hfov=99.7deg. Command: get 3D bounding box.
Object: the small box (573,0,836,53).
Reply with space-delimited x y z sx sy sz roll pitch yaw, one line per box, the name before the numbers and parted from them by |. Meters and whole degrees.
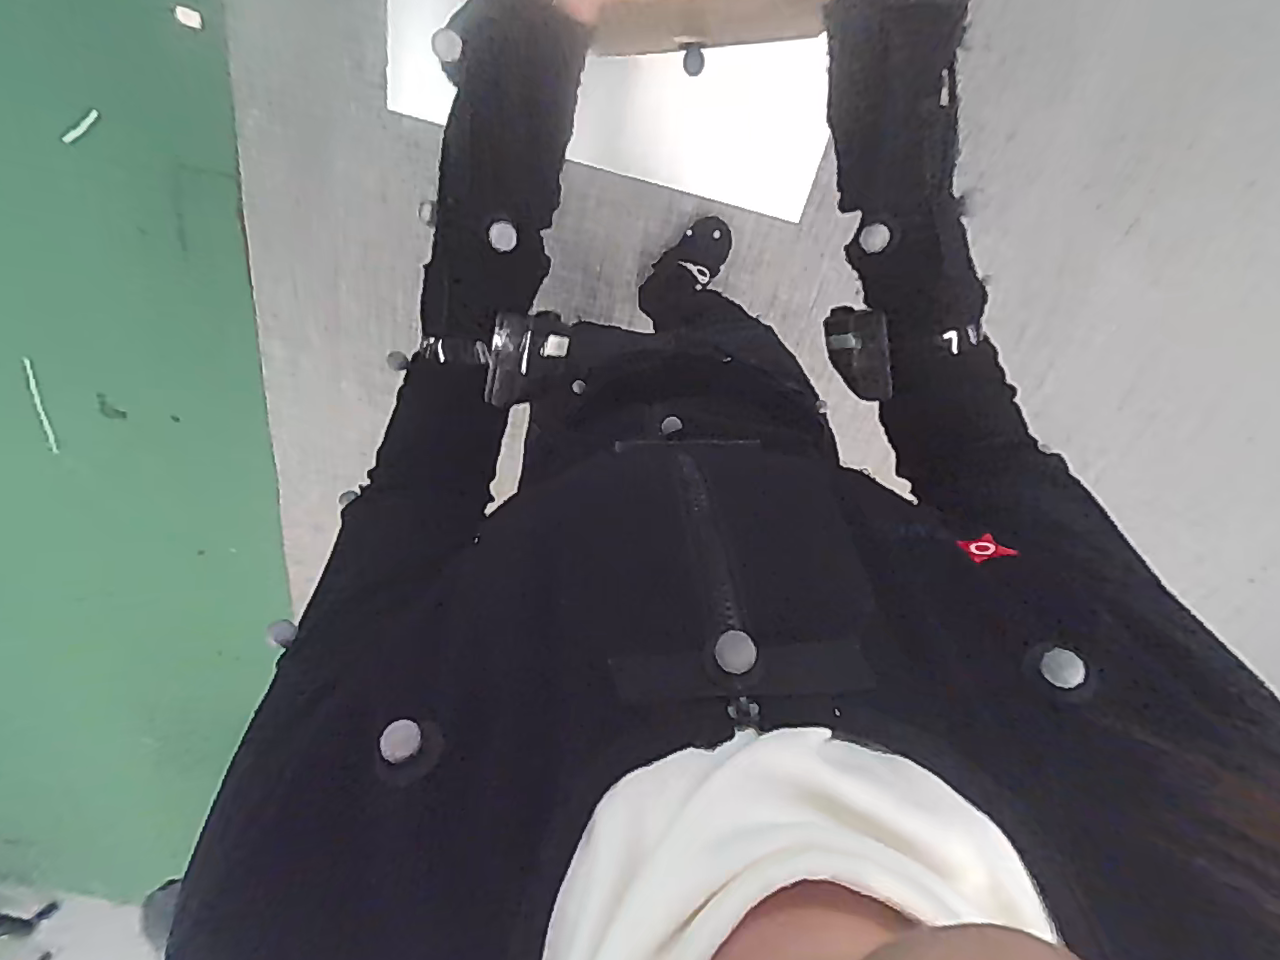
small box | 0.032 -0.348 0.274 0.168 0.176 0.179 -3 121 7
